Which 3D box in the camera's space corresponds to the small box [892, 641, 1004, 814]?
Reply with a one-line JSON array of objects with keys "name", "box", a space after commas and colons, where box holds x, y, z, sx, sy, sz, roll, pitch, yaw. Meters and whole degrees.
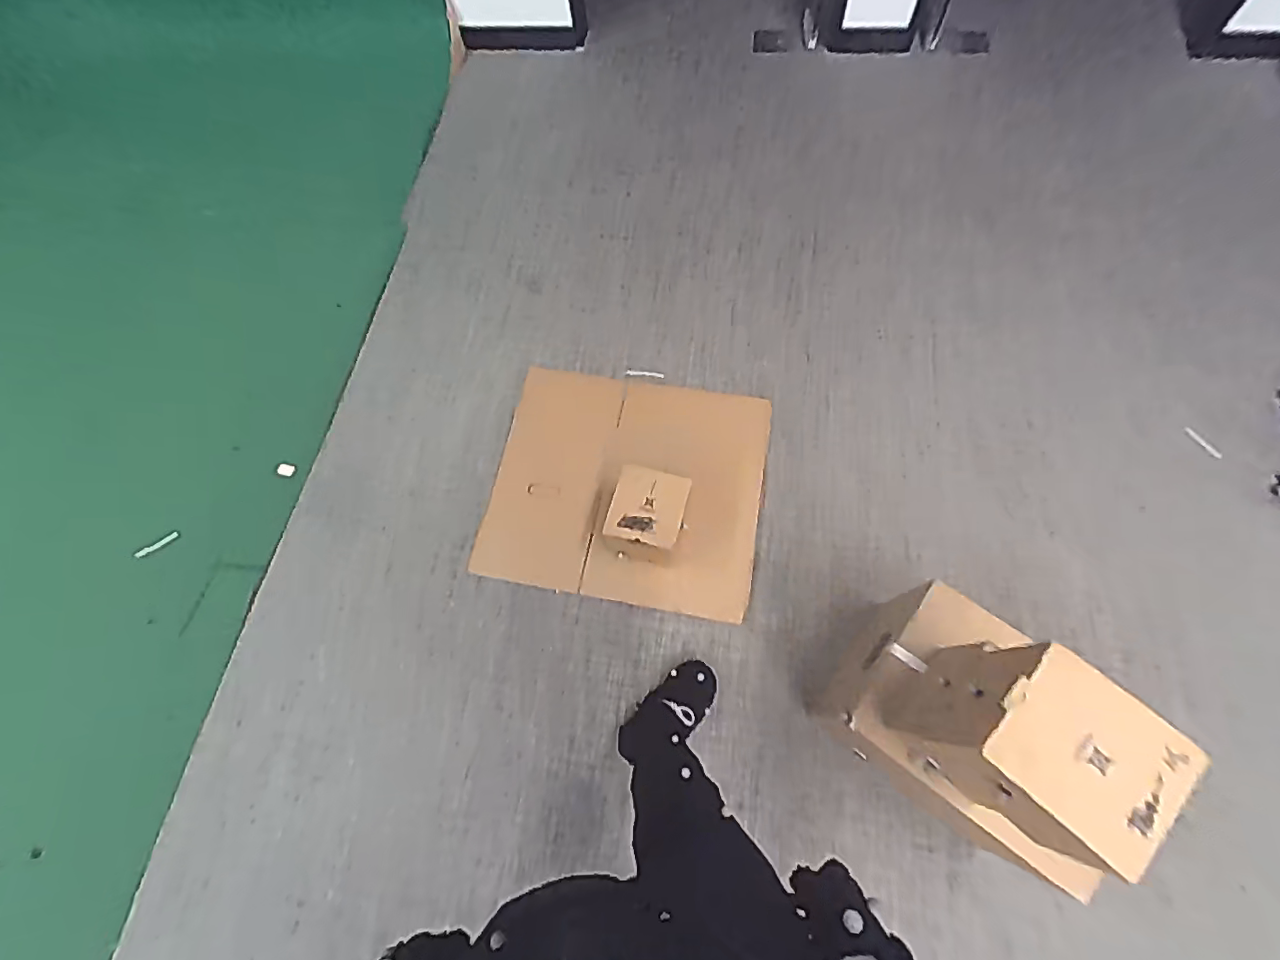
[{"name": "small box", "box": [0.514, 0.369, 0.817, 0.168, 0.176, 0.179, 37, 78, 19]}]

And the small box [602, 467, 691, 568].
[{"name": "small box", "box": [0.024, 0.096, 1.283, 0.168, 0.176, 0.179, 13, 68, 11]}]

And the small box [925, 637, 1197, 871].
[{"name": "small box", "box": [0.492, 0.323, 0.663, 0.179, 0.176, 0.168, 38, 75, 18]}]
